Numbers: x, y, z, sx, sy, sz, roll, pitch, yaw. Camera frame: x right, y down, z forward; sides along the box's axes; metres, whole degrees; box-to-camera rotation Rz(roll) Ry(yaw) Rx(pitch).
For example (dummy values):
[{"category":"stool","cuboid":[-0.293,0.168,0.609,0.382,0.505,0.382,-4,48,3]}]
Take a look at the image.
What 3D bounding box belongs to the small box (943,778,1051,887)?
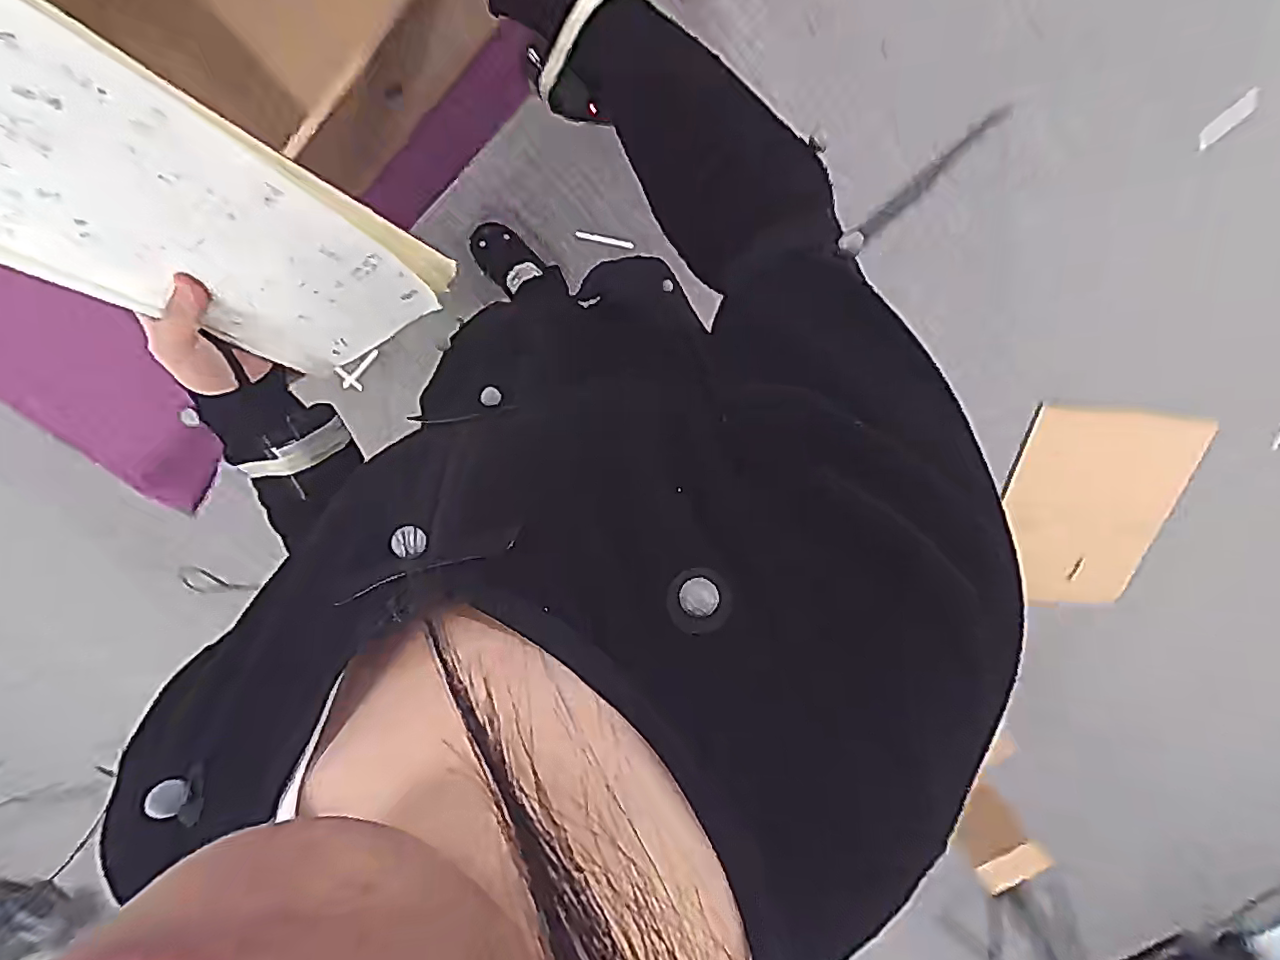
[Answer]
[{"category":"small box","cuboid":[0.988,0.985,1.517,0.179,0.176,0.168,-38,114,11]}]
